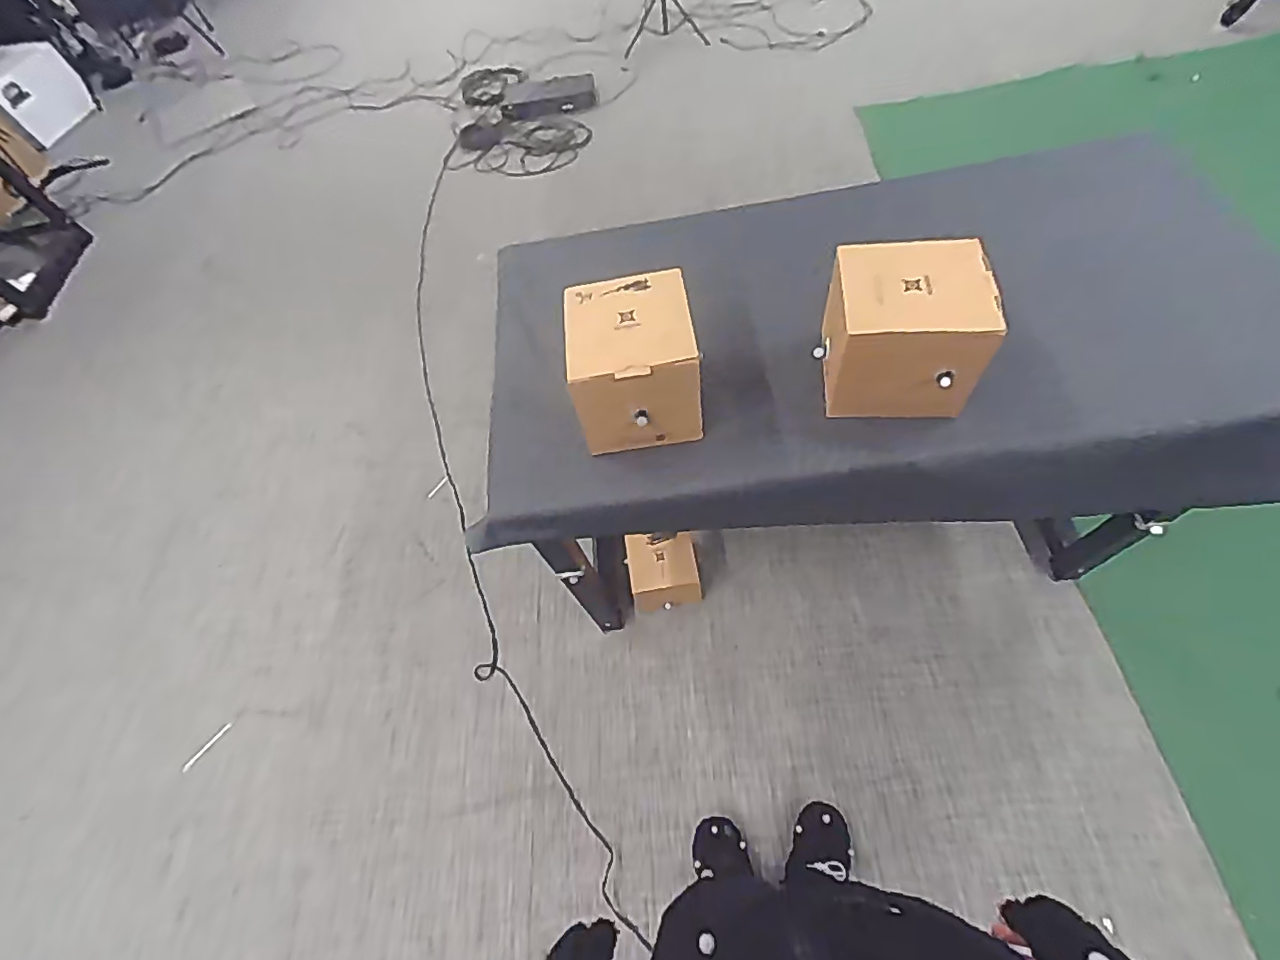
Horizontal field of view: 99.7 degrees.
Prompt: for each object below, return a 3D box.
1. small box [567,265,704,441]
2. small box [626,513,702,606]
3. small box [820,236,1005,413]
[{"bbox_3d":[-0.003,-0.169,0.772,0.168,0.176,0.179,-8,59,3],"label":"small box"},{"bbox_3d":[0.064,0.208,1.395,0.168,0.176,0.179,-11,60,3],"label":"small box"},{"bbox_3d":[0.354,-0.205,0.741,0.179,0.176,0.168,0,59,10],"label":"small box"}]
